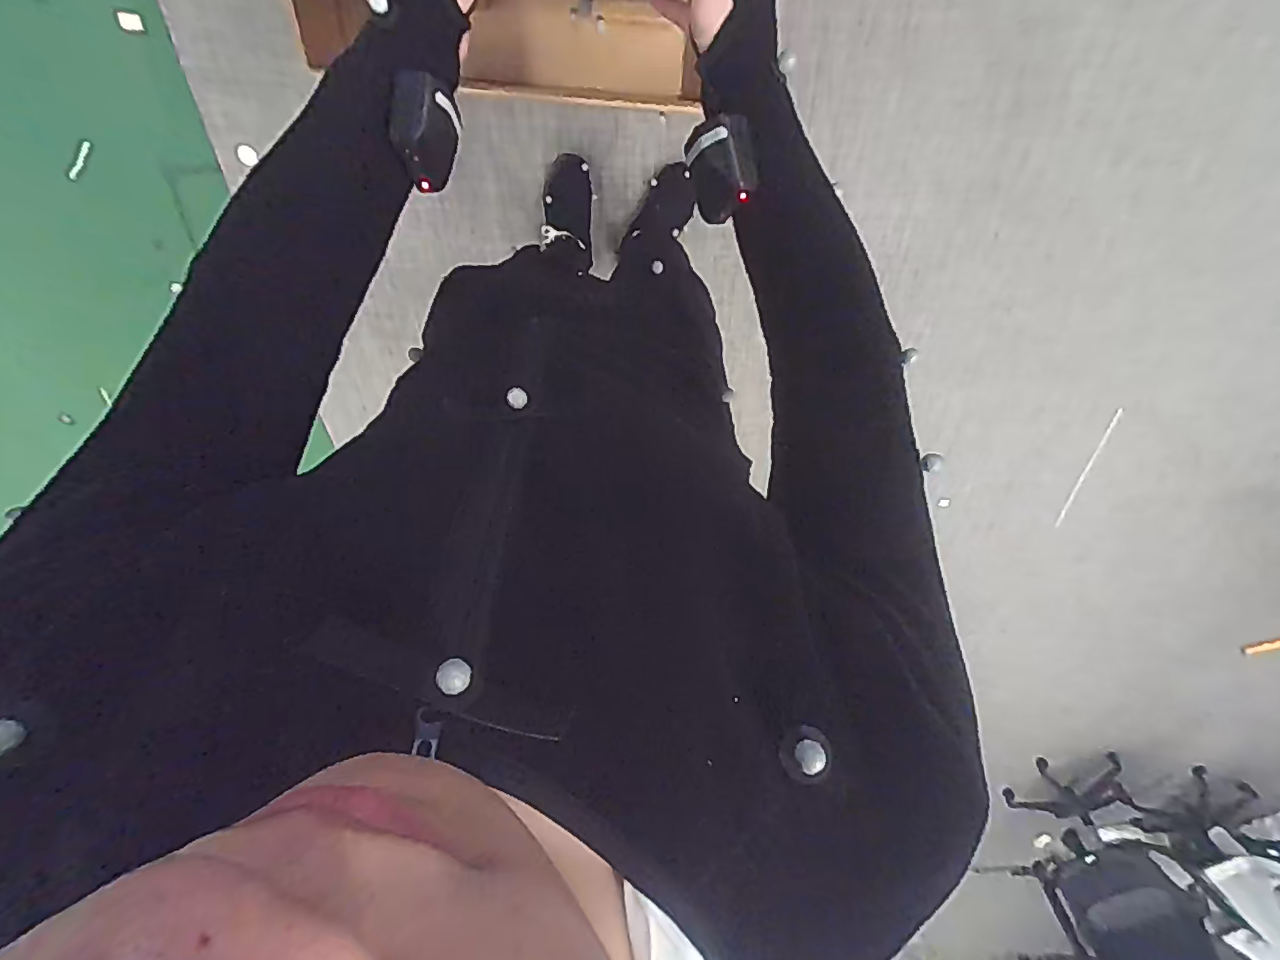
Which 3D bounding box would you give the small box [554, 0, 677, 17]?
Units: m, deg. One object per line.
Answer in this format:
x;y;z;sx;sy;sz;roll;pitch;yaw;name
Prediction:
-0.030;-0.630;0.588;0.168;0.176;0.179;4;125;-2;small box

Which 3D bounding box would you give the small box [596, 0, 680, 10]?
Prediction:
-0.032;-0.530;0.458;0.168;0.176;0.179;5;127;-2;small box

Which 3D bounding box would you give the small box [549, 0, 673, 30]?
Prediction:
-0.028;-0.725;0.722;0.168;0.176;0.179;5;125;-2;small box
